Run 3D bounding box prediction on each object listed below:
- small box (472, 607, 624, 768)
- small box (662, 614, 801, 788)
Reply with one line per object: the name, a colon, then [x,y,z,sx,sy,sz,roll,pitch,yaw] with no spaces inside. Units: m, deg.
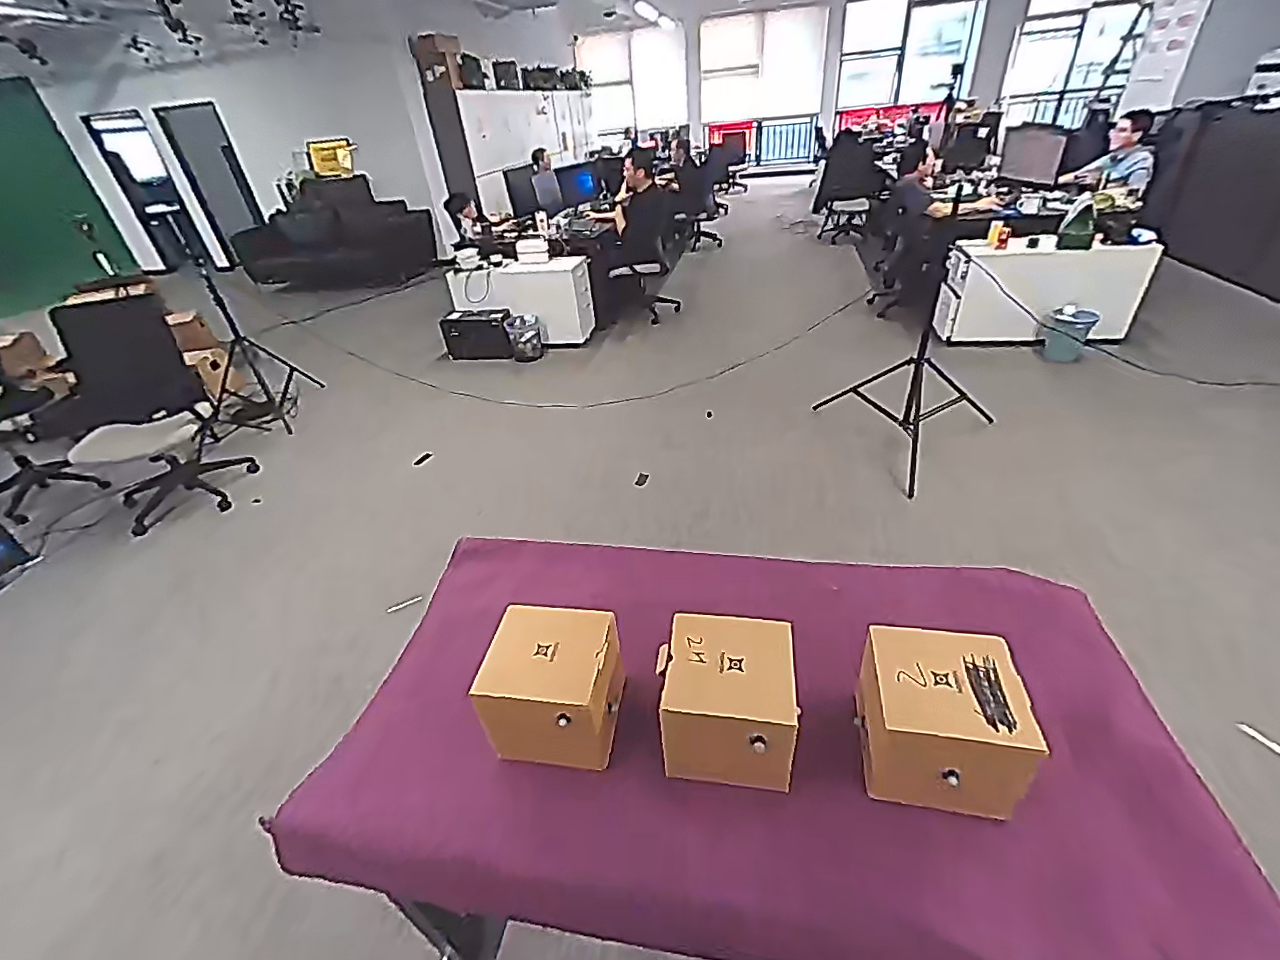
small box: [-0.129,0.319,0.837,0.179,0.176,0.168,1,35,9]
small box: [0.134,0.321,0.790,0.179,0.176,0.168,1,34,11]
